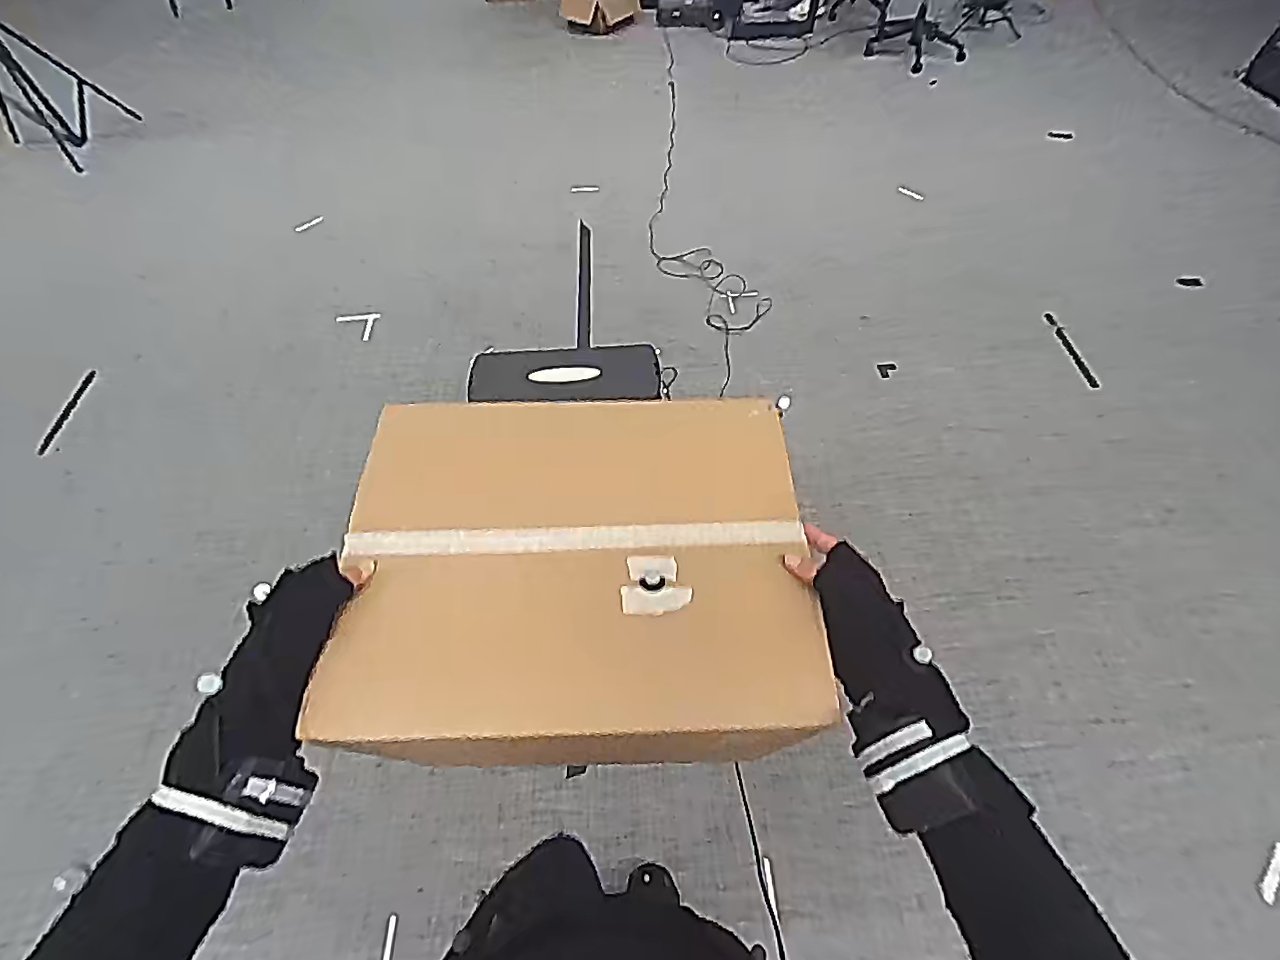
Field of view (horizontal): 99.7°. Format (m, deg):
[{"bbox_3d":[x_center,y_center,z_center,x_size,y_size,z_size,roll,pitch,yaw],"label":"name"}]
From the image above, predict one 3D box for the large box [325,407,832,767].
[{"bbox_3d":[-0.054,0.135,0.622,0.408,0.320,0.320,-1,58,-1],"label":"large box"}]
